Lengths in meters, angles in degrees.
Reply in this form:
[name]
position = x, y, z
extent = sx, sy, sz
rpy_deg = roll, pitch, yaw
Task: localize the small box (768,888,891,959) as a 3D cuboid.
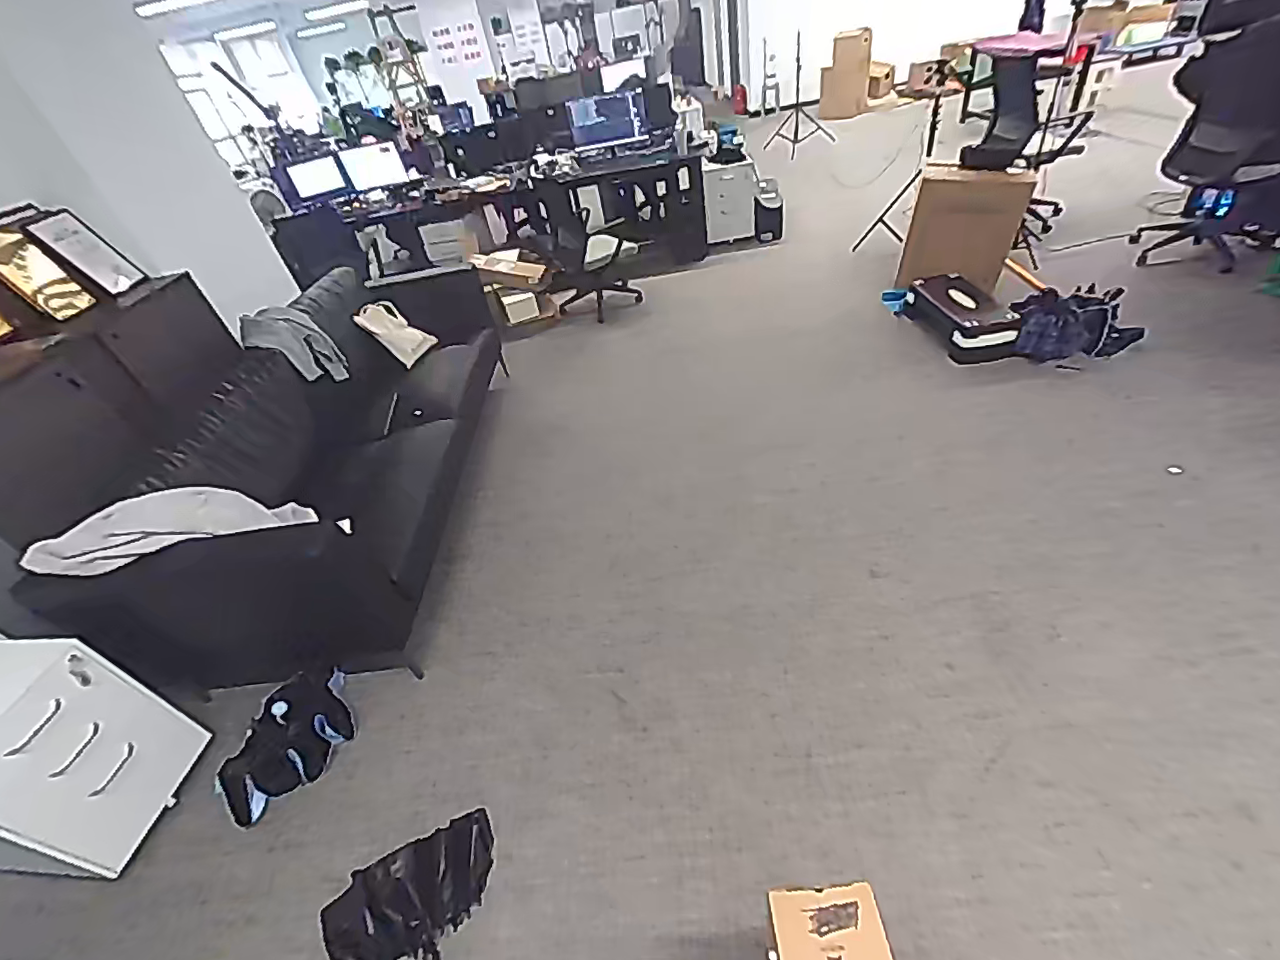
[small box]
position = 0.300, 0.773, 0.850
extent = 0.168, 0.176, 0.179
rpy_deg = -9, 43, 4
